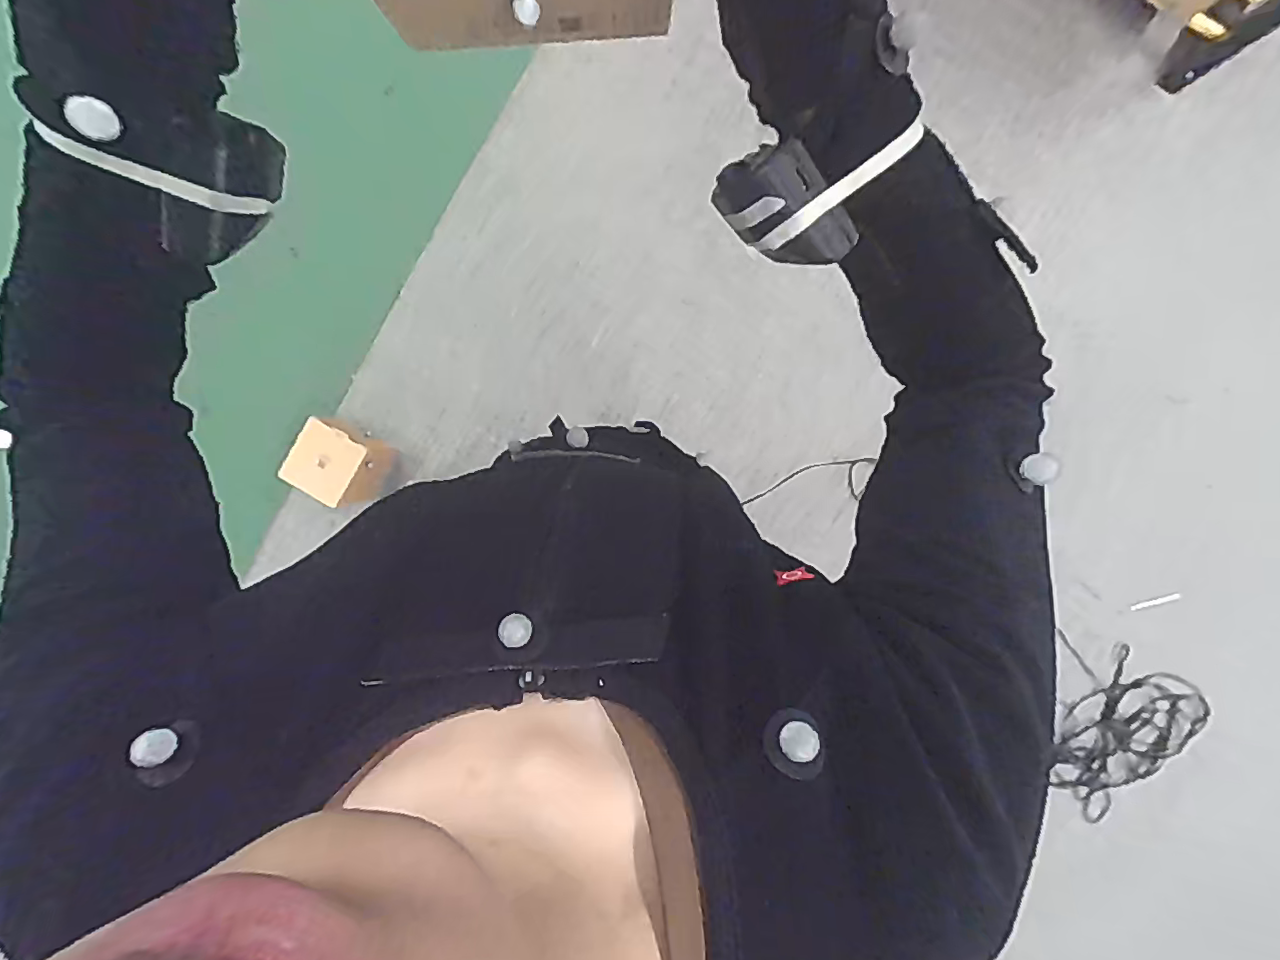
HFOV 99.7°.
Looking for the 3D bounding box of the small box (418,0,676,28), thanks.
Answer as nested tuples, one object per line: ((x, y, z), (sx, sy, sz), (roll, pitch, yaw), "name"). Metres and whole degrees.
((-0.059, -0.349, 0.237), (0.168, 0.176, 0.179), (-3, 103, 0), "small box")

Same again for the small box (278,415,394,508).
((-0.774, -0.048, 1.398), (0.168, 0.176, 0.179), (30, 93, -2), "small box")
